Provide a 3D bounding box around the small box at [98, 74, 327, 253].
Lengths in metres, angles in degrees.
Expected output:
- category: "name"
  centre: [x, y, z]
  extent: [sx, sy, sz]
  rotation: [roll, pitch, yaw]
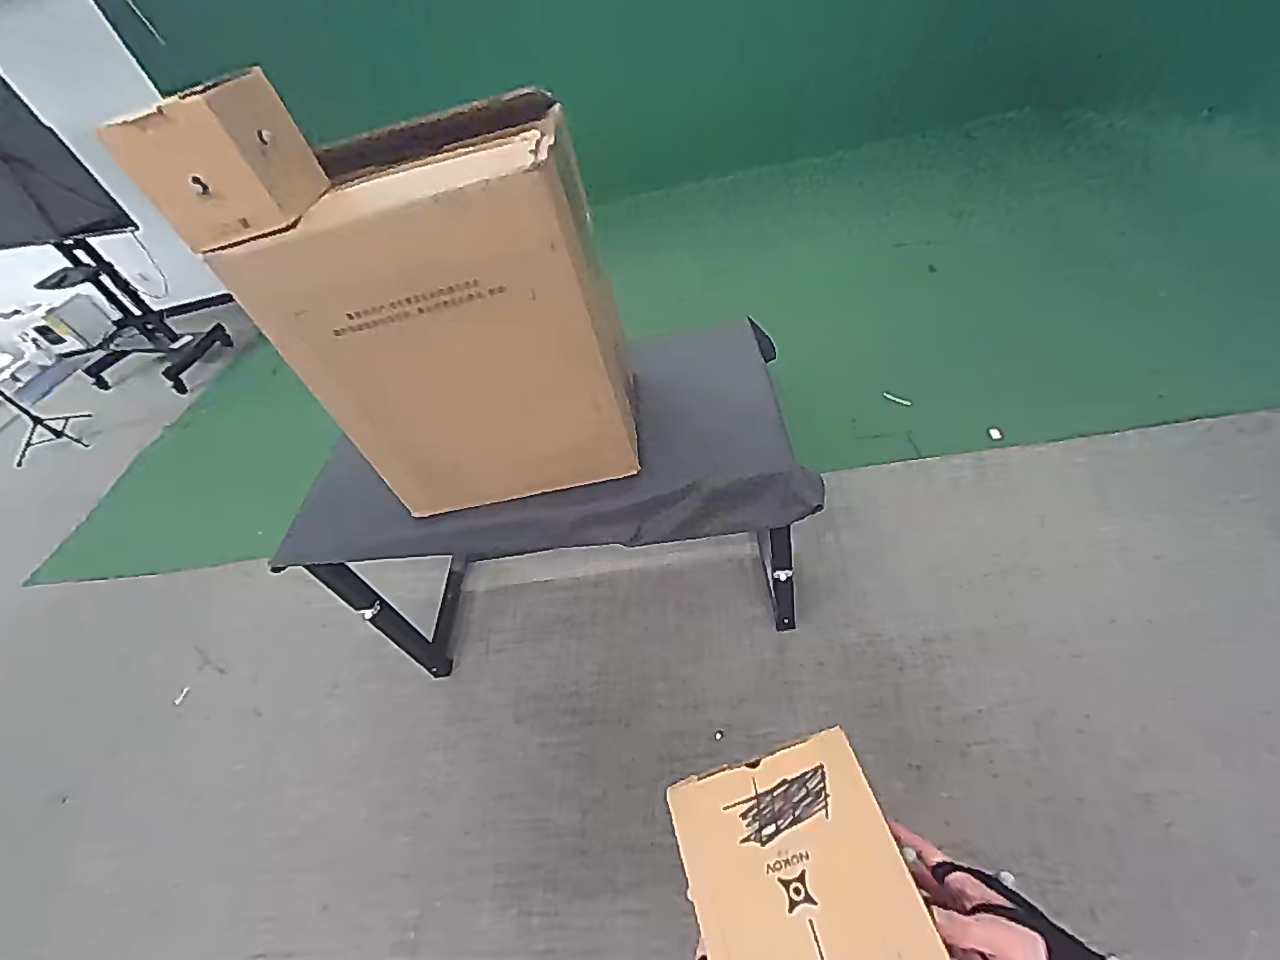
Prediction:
- category: "small box"
  centre: [-0.606, -0.458, 0.798]
  extent: [0.168, 0.176, 0.179]
  rotation: [-12, 46, 9]
